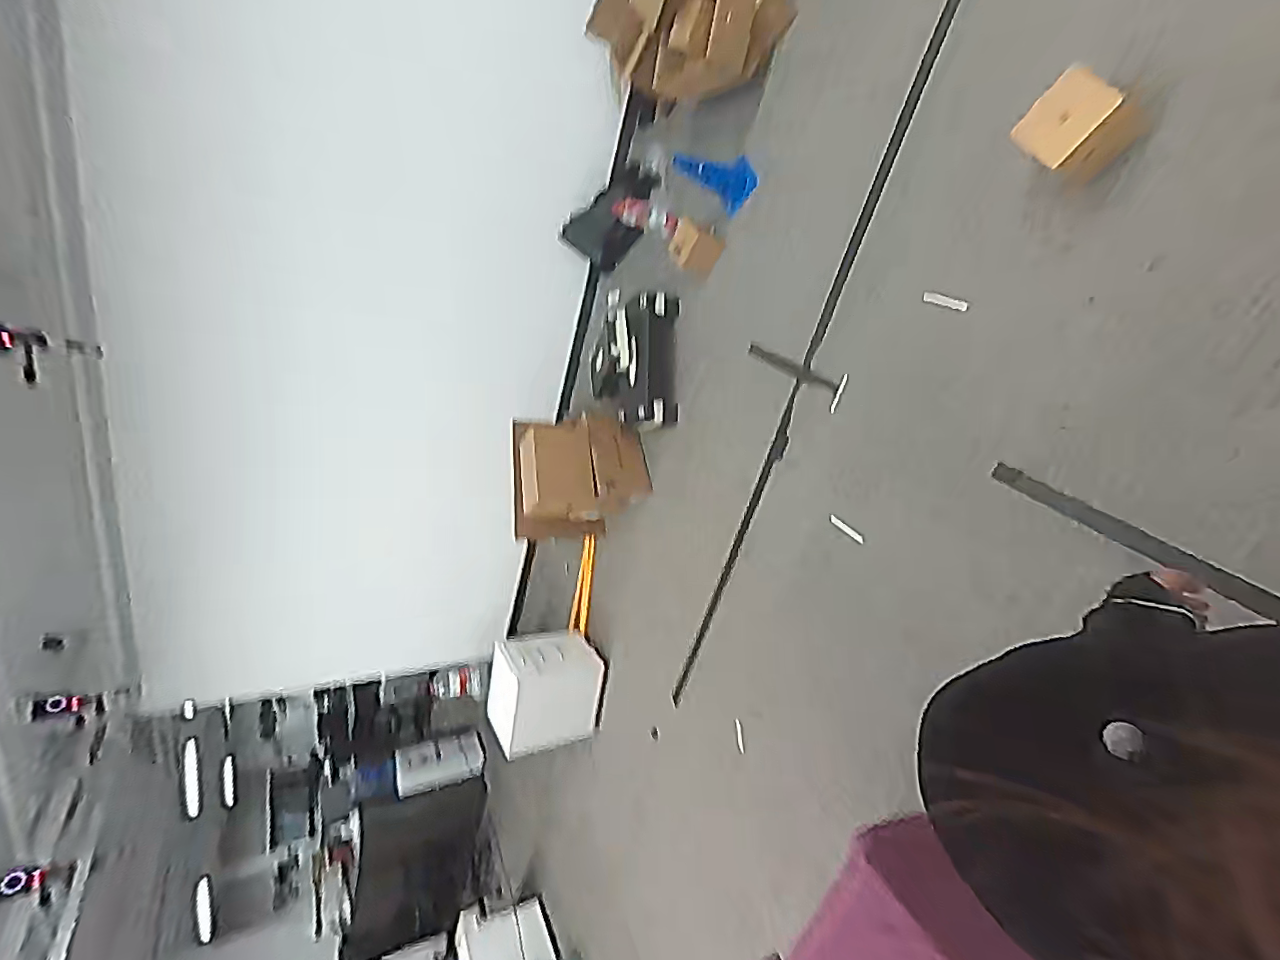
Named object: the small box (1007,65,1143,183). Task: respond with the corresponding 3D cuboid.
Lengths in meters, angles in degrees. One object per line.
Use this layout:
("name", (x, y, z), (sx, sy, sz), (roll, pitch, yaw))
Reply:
("small box", (1.062, -0.858, 1.320), (0.168, 0.176, 0.179), (-52, 47, 42))
